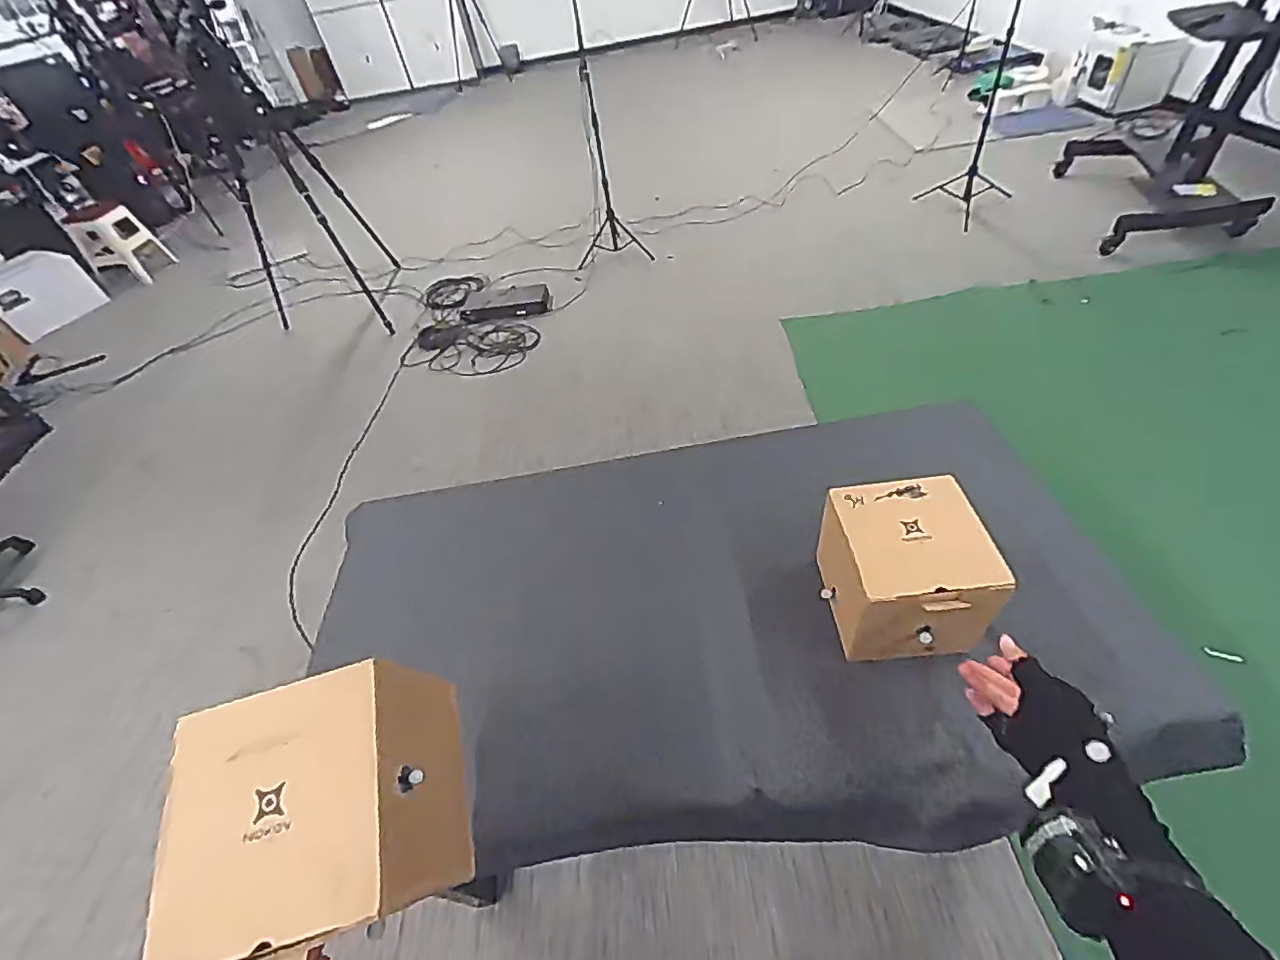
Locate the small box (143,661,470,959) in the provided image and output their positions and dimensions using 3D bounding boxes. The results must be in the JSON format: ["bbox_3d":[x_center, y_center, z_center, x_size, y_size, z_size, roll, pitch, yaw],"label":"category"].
[{"bbox_3d":[-0.258,0.276,0.463,0.168,0.176,0.179,-17,60,-2],"label":"small box"}]

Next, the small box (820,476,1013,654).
[{"bbox_3d":[0.351,0.121,0.728,0.168,0.176,0.179,-7,47,5],"label":"small box"}]
